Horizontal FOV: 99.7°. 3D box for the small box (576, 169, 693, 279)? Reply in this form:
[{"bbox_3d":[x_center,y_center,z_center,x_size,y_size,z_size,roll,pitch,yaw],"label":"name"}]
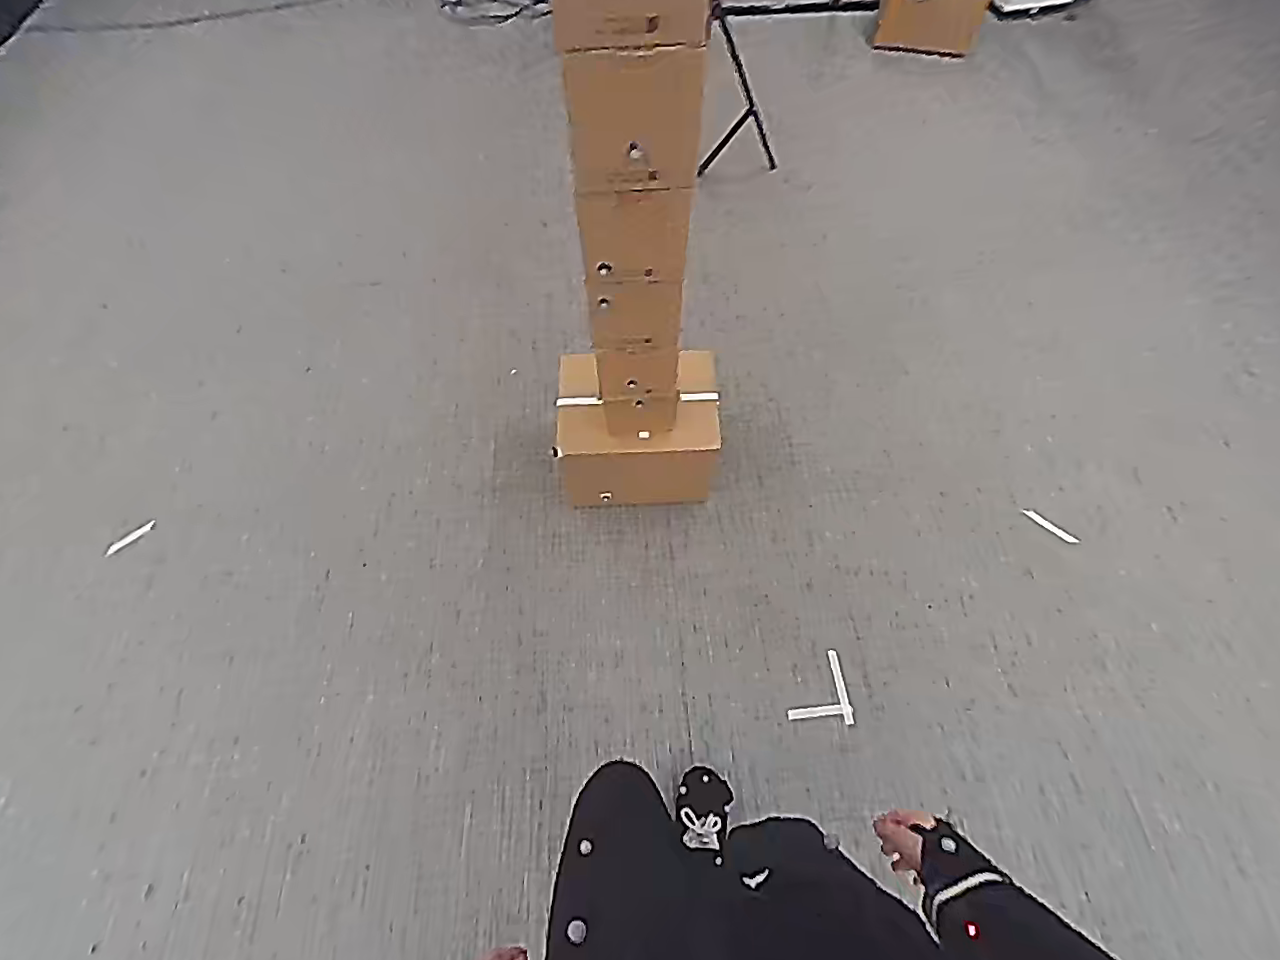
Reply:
[{"bbox_3d":[-0.006,-0.436,0.851,0.168,0.176,0.179,-1,63,0],"label":"small box"}]

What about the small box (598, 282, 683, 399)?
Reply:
[{"bbox_3d":[-0.003,-0.292,1.146,0.168,0.176,0.179,-3,64,-1],"label":"small box"}]

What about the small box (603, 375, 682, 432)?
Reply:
[{"bbox_3d":[0.003,-0.226,1.294,0.179,0.176,0.168,-4,64,-2],"label":"small box"}]

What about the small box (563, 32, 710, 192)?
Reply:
[{"bbox_3d":[-0.008,-0.507,0.702,0.168,0.176,0.179,-4,64,-1],"label":"small box"}]

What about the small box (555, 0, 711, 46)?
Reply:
[{"bbox_3d":[-0.013,-0.583,0.557,0.168,0.176,0.179,-5,65,-2],"label":"small box"}]
